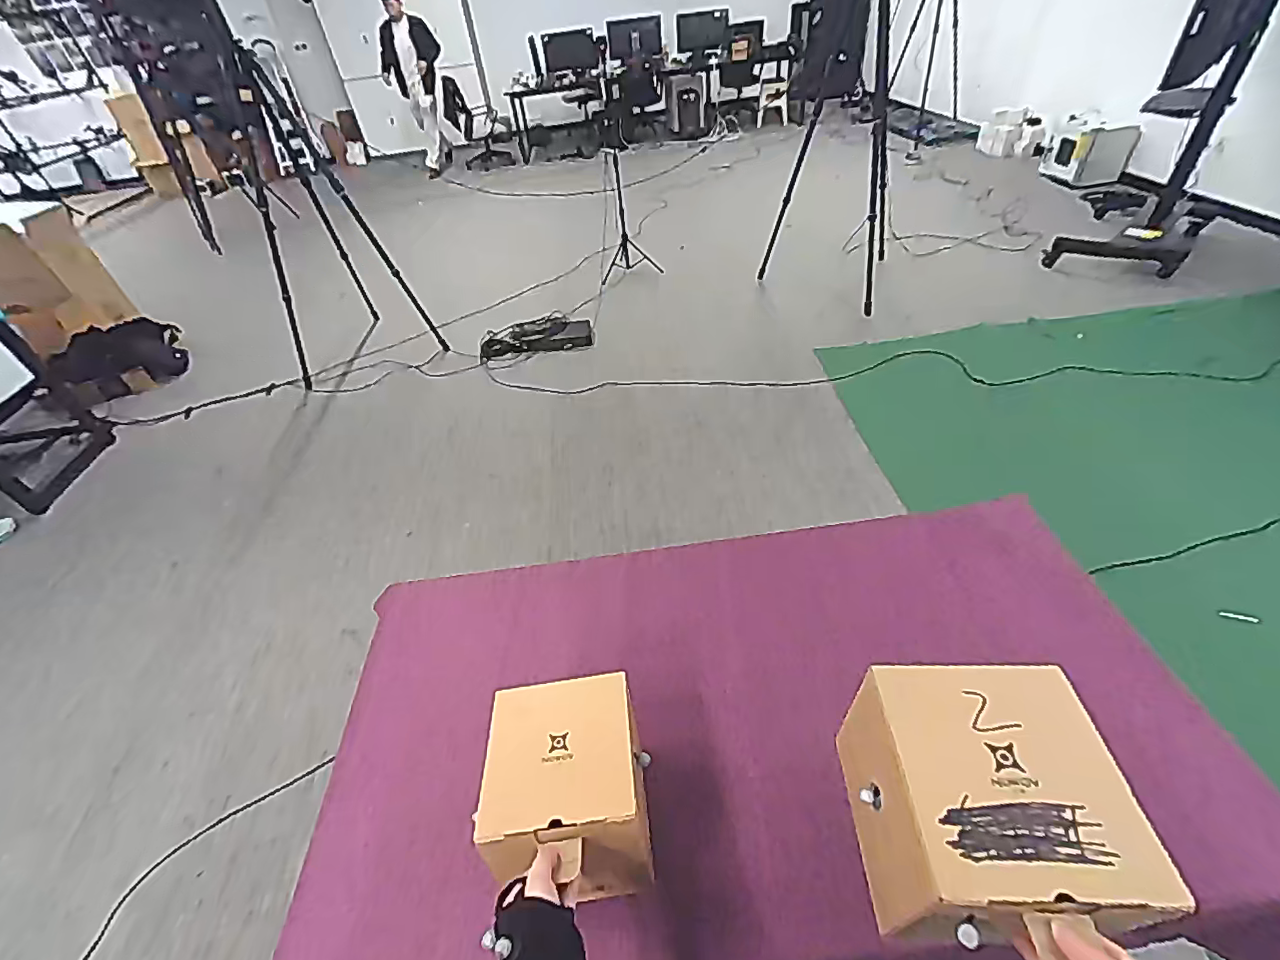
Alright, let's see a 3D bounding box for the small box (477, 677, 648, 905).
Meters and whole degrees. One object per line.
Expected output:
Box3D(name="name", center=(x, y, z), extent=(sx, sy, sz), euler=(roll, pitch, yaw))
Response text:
Box3D(name="small box", center=(-0.085, 0.376, 0.663), extent=(0.168, 0.176, 0.179), euler=(-8, 34, -1))
